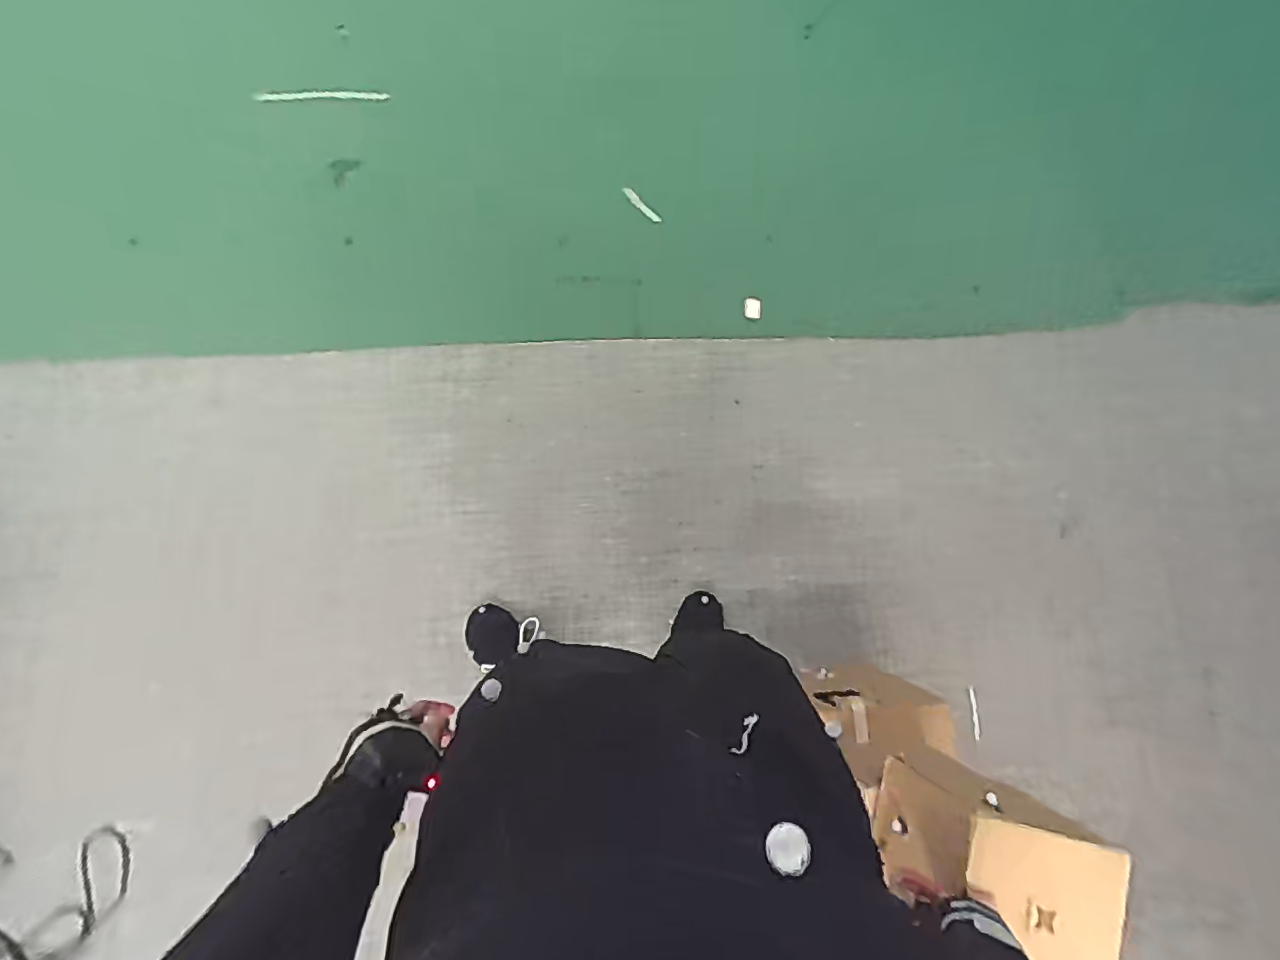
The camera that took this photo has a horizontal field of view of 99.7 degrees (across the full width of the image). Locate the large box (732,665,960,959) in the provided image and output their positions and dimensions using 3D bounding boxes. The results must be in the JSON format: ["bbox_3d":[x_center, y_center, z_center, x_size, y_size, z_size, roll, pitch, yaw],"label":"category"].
[{"bbox_3d":[0.368,0.594,1.010,0.320,0.320,0.408,-3,84,-1],"label":"large box"}]

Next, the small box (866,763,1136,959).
[{"bbox_3d":[0.393,0.451,0.615,0.179,0.176,0.168,17,82,-3],"label":"small box"}]
